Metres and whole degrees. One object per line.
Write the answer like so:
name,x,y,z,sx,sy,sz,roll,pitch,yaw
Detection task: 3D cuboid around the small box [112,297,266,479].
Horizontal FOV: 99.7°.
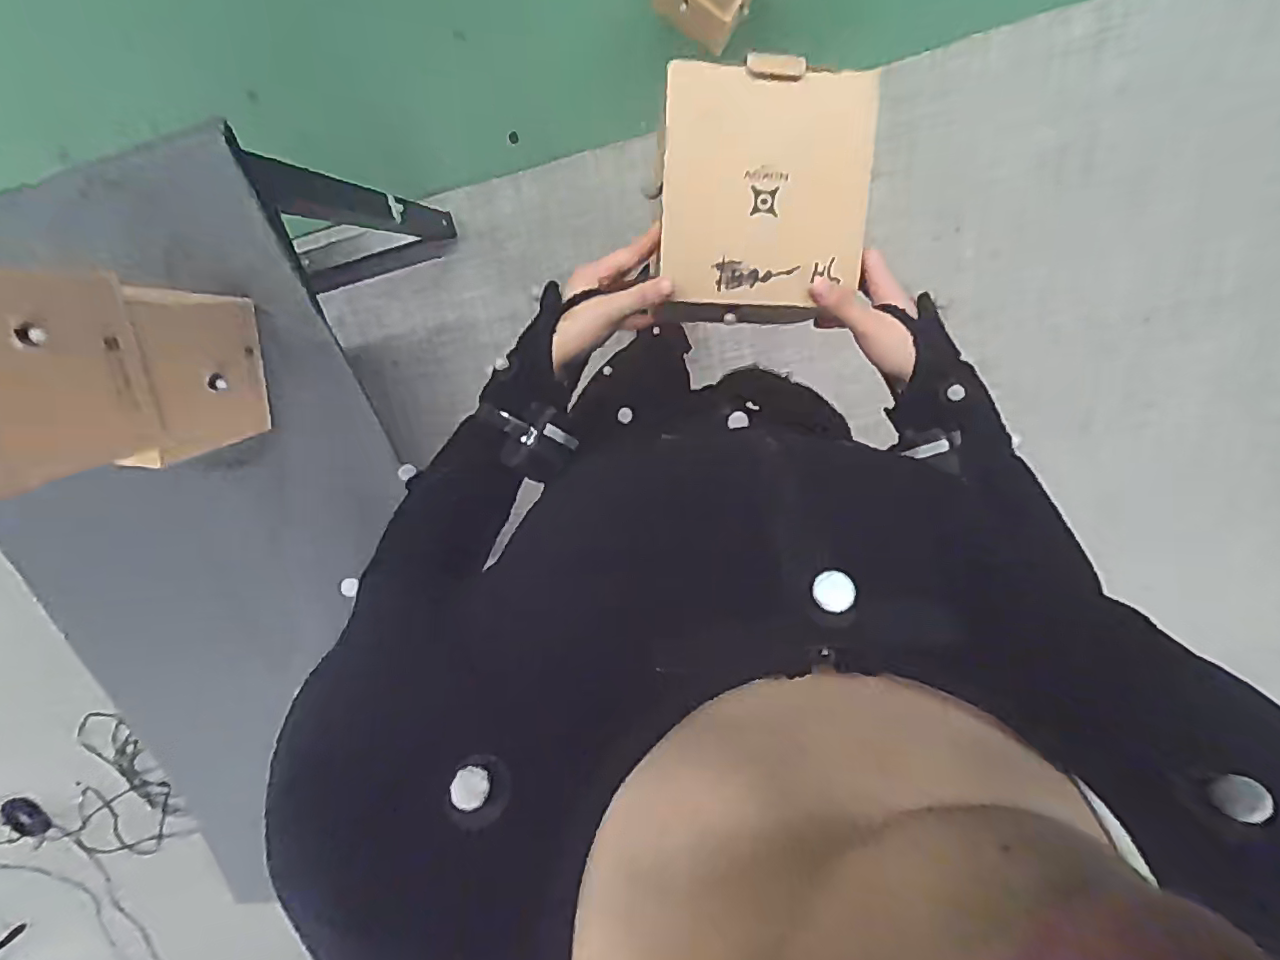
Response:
small box,-0.561,-0.113,0.613,0.179,0.176,0.168,7,110,2

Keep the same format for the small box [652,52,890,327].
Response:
small box,0.101,-0.242,0.497,0.168,0.176,0.179,2,101,-3

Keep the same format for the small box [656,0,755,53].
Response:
small box,0.144,-0.982,1.051,0.179,0.176,0.168,31,109,-8
